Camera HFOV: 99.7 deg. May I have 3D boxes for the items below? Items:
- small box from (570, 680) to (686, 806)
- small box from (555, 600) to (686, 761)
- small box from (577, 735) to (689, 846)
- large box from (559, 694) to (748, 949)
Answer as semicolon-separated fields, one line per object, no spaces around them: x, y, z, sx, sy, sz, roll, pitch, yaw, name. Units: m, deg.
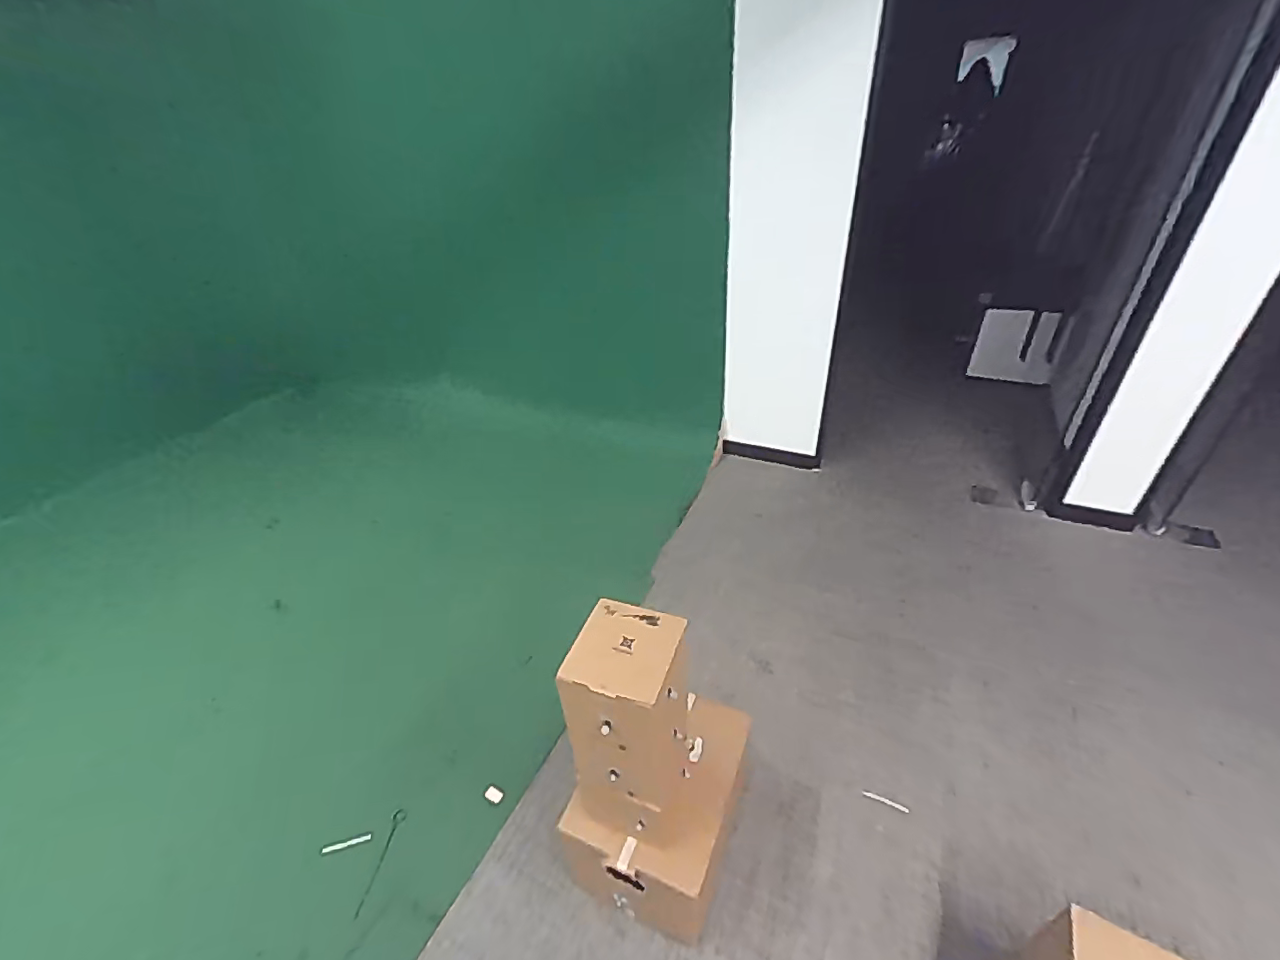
-0.012;0.474;1.020;0.168;0.176;0.179;9;37;18;small box
-0.021;0.341;0.923;0.168;0.176;0.179;10;38;20;small box
-0.005;0.611;1.110;0.179;0.176;0.168;11;38;22;small box
0.054;0.774;1.295;0.320;0.320;0.408;13;38;22;large box
